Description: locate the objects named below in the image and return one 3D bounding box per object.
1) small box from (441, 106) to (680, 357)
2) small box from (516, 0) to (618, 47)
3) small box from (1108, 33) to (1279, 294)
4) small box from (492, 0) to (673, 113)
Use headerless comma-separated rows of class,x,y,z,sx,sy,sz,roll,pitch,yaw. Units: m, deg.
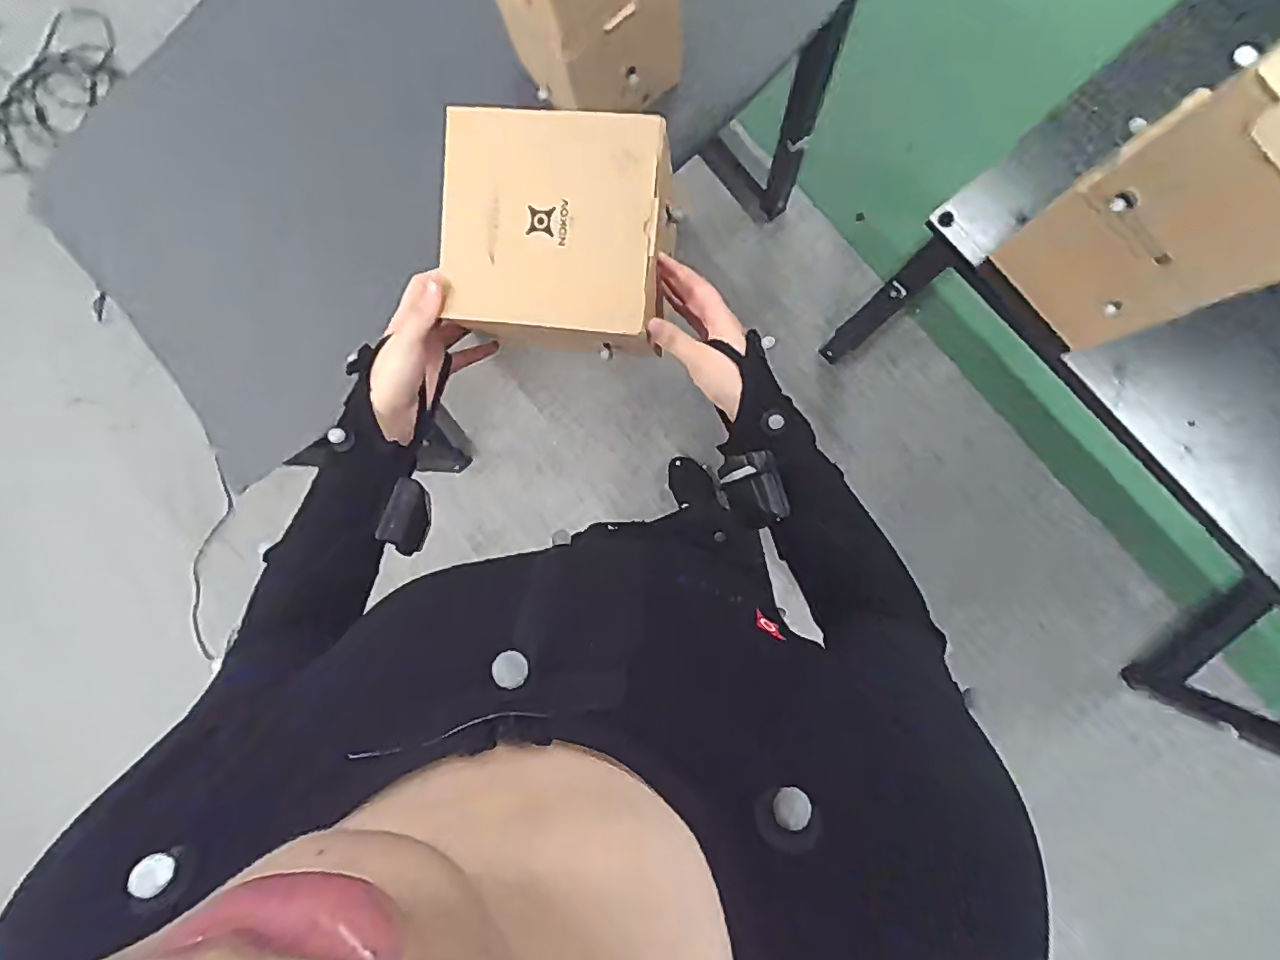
small box,-0.059,-0.210,0.501,0.179,0.176,0.168,7,97,8
small box,-0.081,-0.601,0.532,0.179,0.176,0.168,-39,85,5
small box,0.570,-0.295,0.469,0.179,0.176,0.168,-38,88,3
small box,-0.070,-0.591,0.695,0.168,0.176,0.179,-37,86,5
